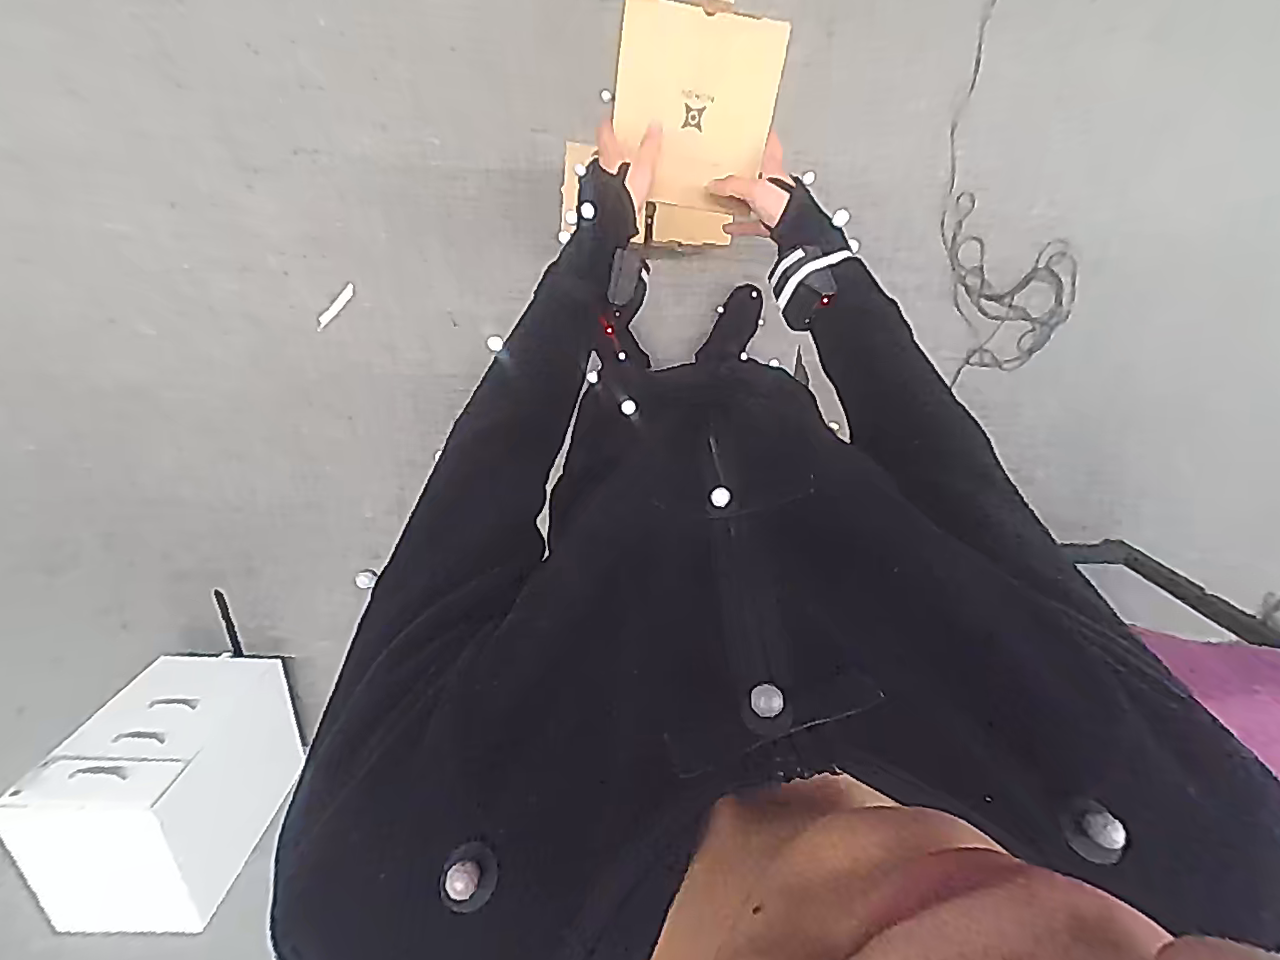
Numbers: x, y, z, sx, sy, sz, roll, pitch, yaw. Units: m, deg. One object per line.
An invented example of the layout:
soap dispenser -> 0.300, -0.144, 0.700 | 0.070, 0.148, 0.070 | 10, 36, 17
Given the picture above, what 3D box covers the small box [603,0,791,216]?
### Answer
small box -> 0.048, -0.416, 0.622 | 0.168, 0.176, 0.179 | 5, 118, -8
